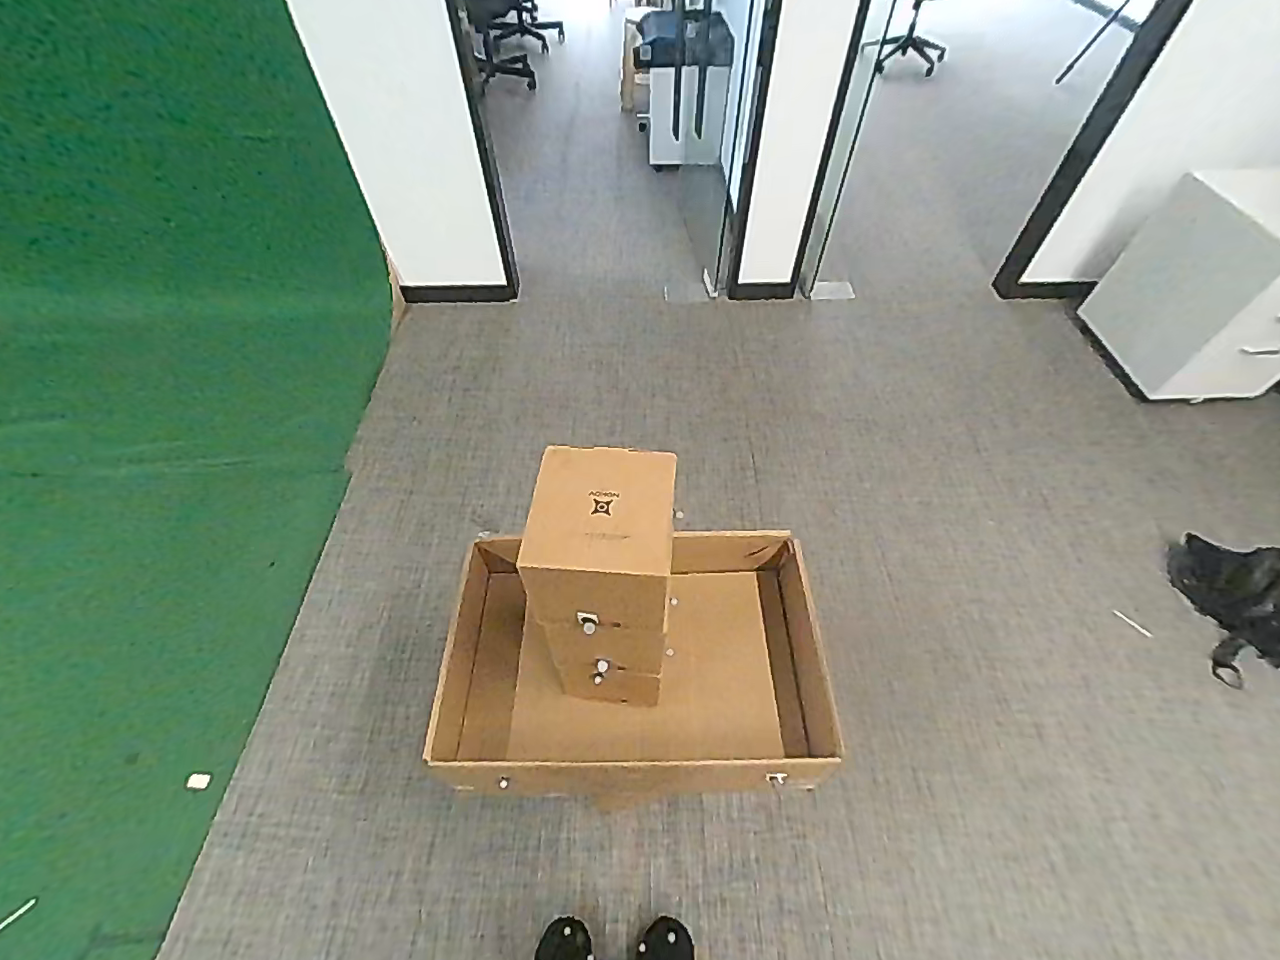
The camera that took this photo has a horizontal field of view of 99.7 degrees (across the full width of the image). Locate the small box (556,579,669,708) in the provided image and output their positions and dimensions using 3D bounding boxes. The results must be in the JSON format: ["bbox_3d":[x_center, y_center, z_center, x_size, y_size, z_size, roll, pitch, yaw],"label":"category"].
[{"bbox_3d":[-0.042,0.278,0.951,0.168,0.176,0.179,5,51,4],"label":"small box"}]

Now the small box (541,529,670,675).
[{"bbox_3d":[-0.046,0.177,0.822,0.168,0.176,0.179,4,53,2],"label":"small box"}]

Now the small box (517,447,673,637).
[{"bbox_3d":[-0.047,0.081,0.693,0.168,0.176,0.179,3,53,3],"label":"small box"}]
